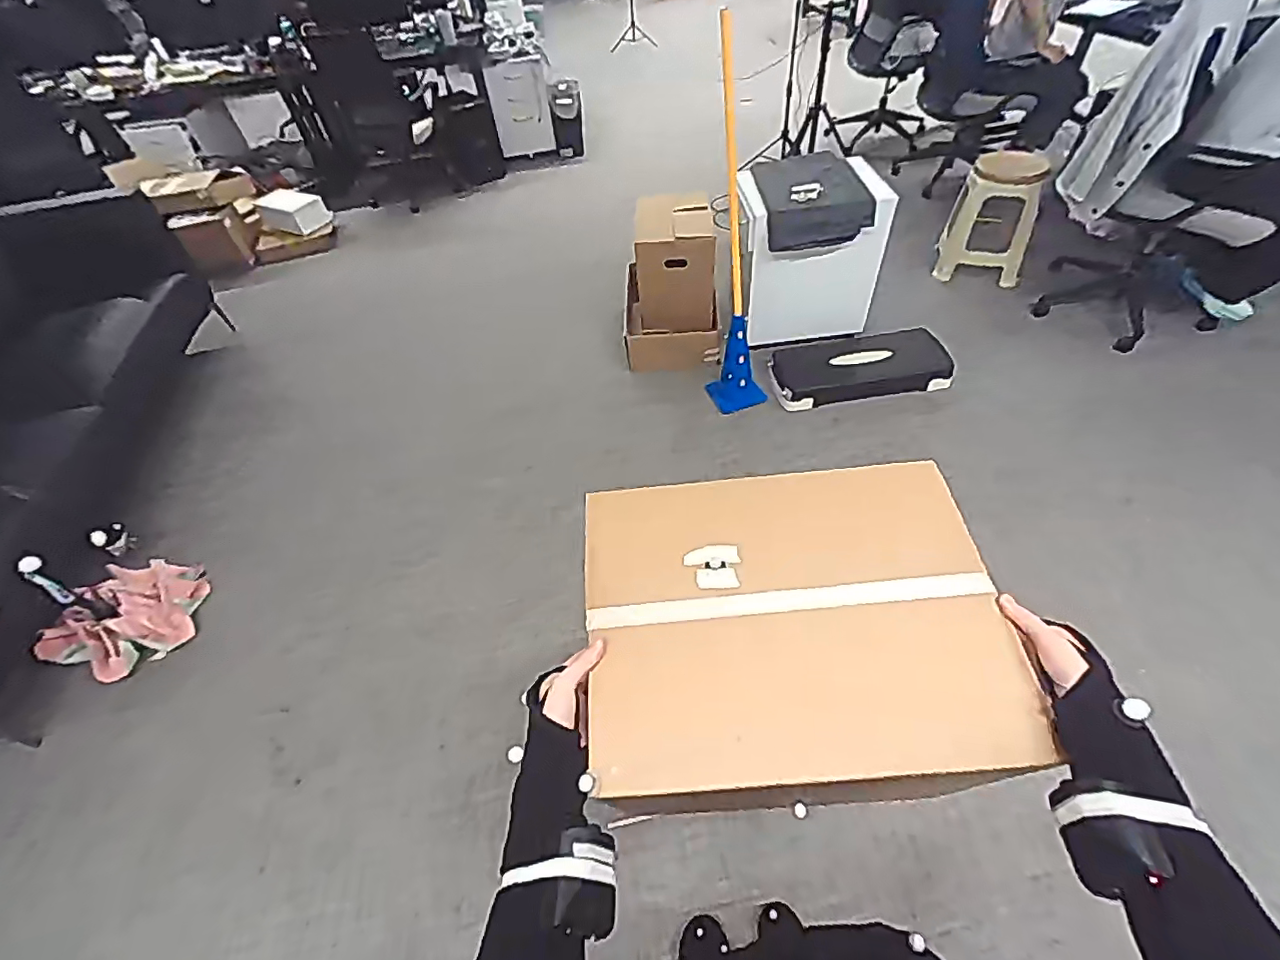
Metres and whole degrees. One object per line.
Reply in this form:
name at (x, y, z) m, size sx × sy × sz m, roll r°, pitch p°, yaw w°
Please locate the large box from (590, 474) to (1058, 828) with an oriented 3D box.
large box at (0.166, 0.226, 0.670) m, size 0.408 × 0.320 × 0.320 m, roll -7°, pitch 53°, yaw 3°
